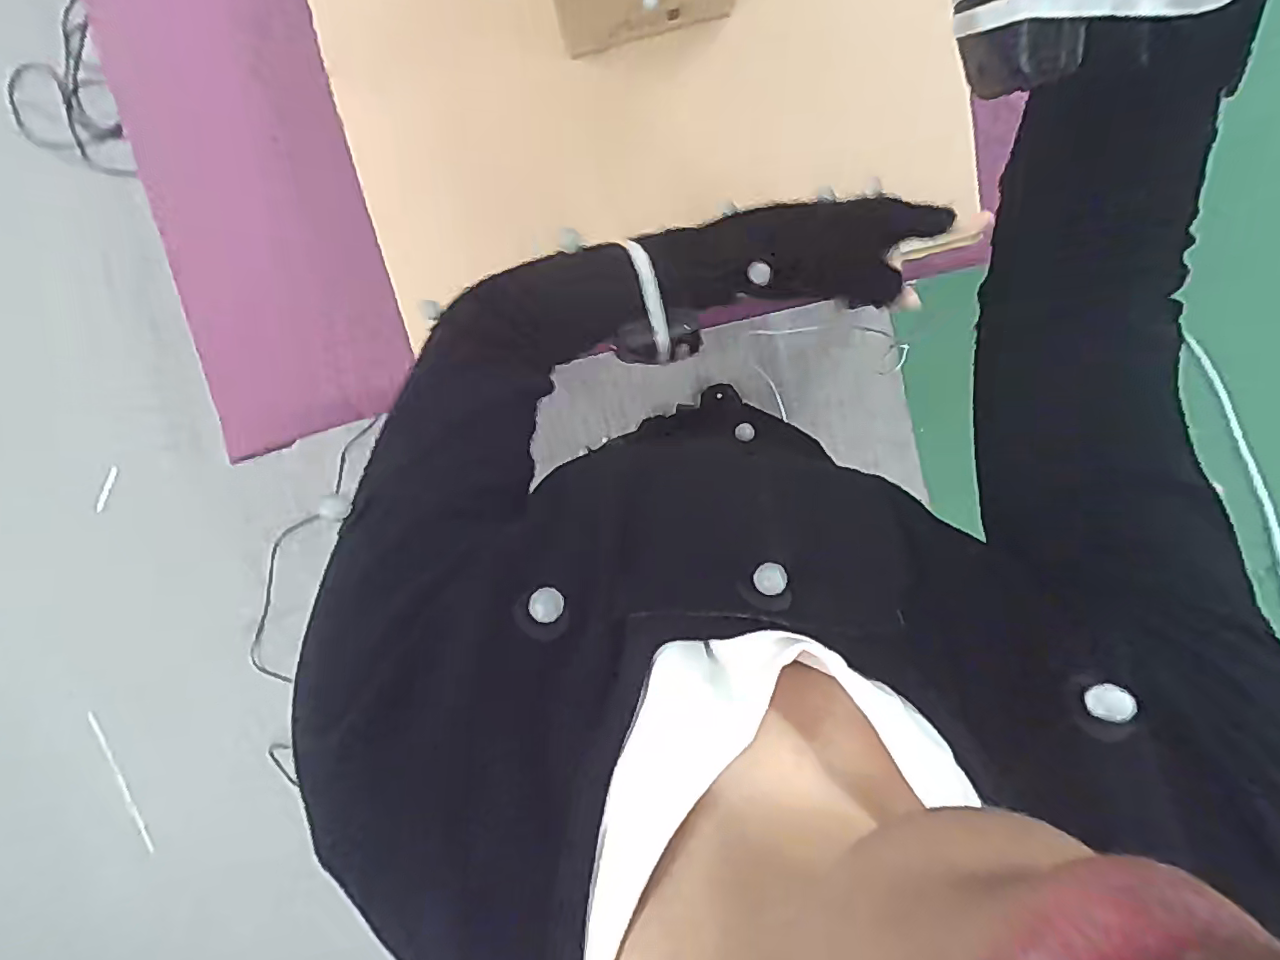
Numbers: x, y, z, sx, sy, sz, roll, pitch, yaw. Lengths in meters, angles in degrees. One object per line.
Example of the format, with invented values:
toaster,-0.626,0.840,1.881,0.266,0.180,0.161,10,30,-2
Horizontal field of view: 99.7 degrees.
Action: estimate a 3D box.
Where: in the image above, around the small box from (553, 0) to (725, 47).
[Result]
small box,-0.016,-0.506,0.428,0.168,0.176,0.179,-13,95,4
